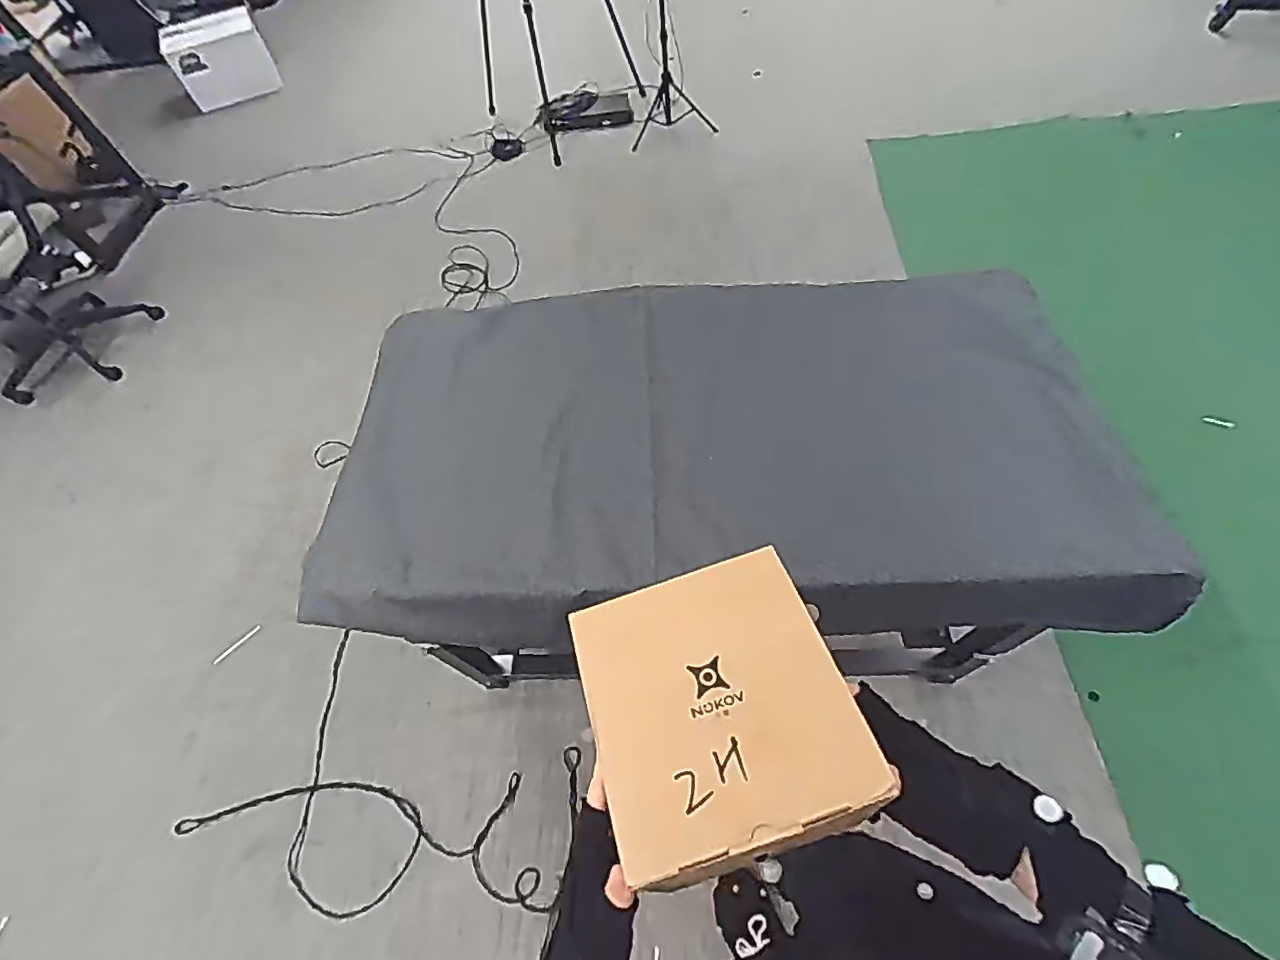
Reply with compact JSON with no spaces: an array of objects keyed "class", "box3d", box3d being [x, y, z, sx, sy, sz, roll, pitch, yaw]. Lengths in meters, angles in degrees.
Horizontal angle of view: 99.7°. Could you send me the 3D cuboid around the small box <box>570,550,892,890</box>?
[{"class":"small box","box3d":[0.058,0.188,0.417,0.168,0.176,0.179,-19,52,-1]}]
